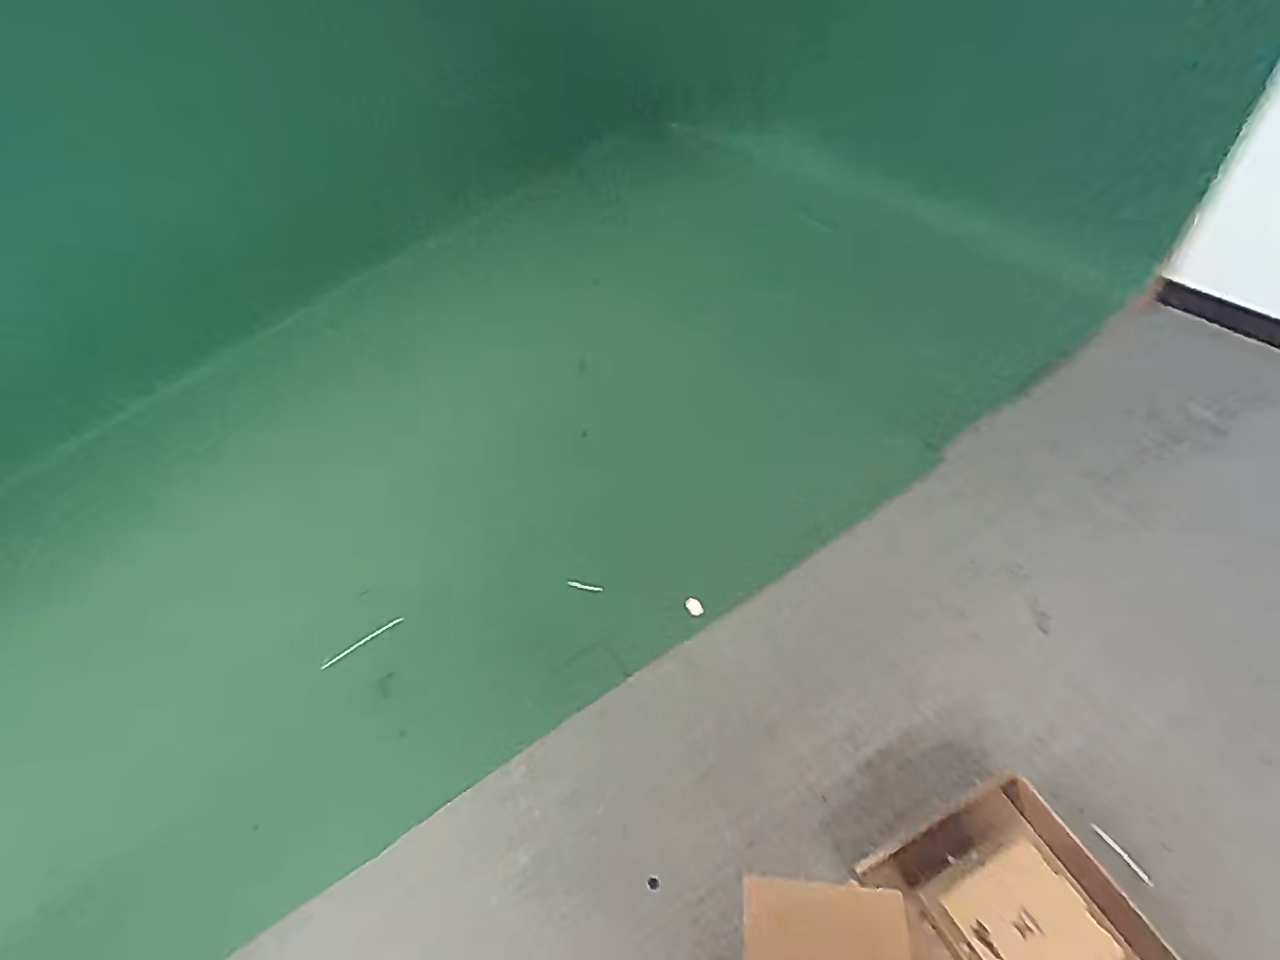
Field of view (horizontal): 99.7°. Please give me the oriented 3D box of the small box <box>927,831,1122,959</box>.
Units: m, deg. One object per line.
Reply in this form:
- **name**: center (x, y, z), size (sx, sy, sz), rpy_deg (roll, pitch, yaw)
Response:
- **small box**: center (0.596, 0.700, 0.869), size (0.179, 0.176, 0.168), rpy_deg (-30, 51, -6)
